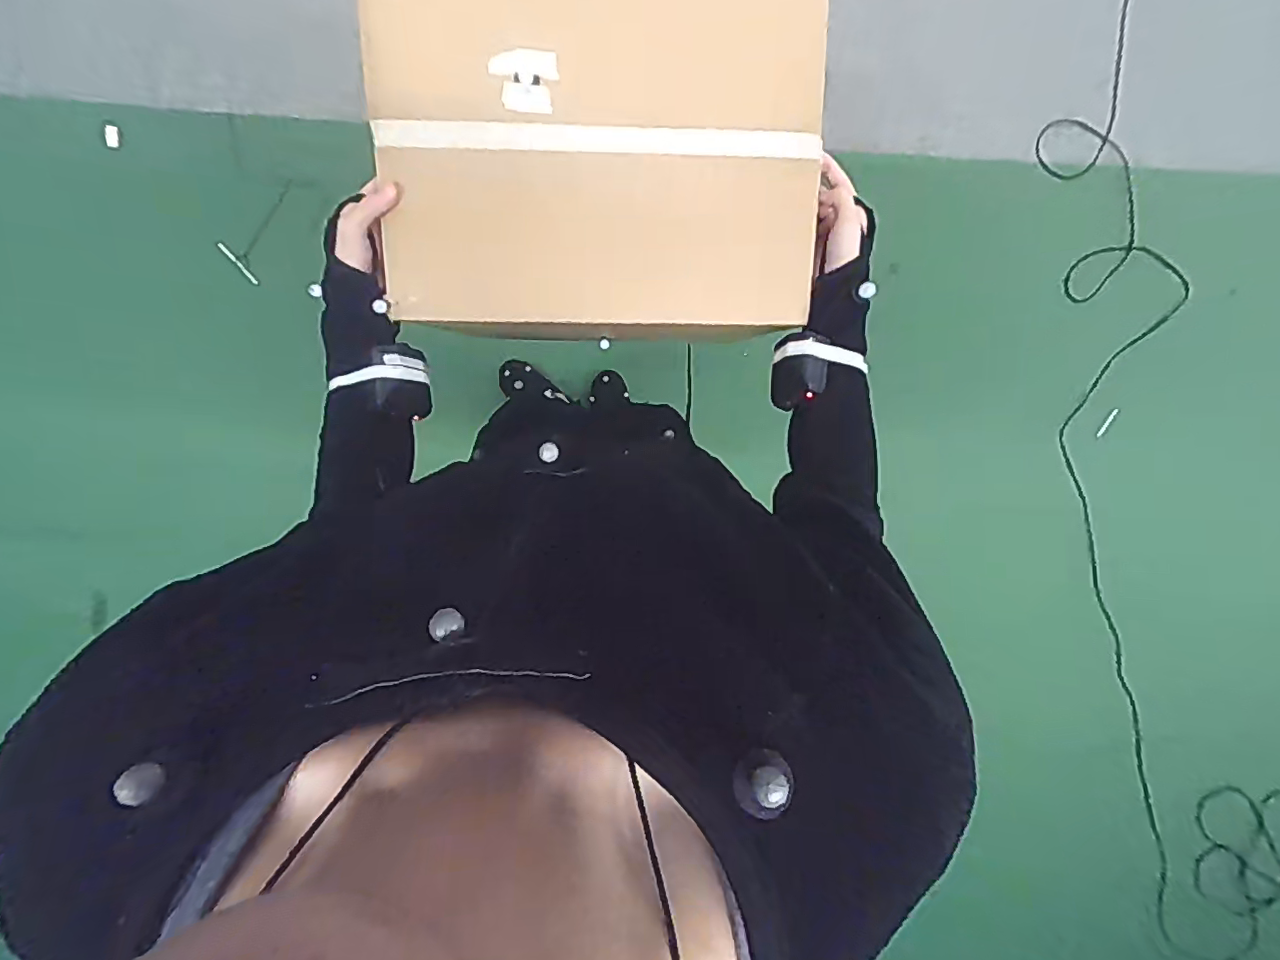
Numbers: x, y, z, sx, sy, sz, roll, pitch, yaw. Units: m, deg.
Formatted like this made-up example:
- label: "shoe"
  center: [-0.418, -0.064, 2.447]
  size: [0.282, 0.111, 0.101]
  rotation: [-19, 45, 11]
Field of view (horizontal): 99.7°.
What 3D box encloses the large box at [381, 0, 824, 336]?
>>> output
- label: "large box"
  center: [-0.035, -0.340, 0.650]
  size: [0.408, 0.320, 0.320]
  rotation: [0, 100, -3]
